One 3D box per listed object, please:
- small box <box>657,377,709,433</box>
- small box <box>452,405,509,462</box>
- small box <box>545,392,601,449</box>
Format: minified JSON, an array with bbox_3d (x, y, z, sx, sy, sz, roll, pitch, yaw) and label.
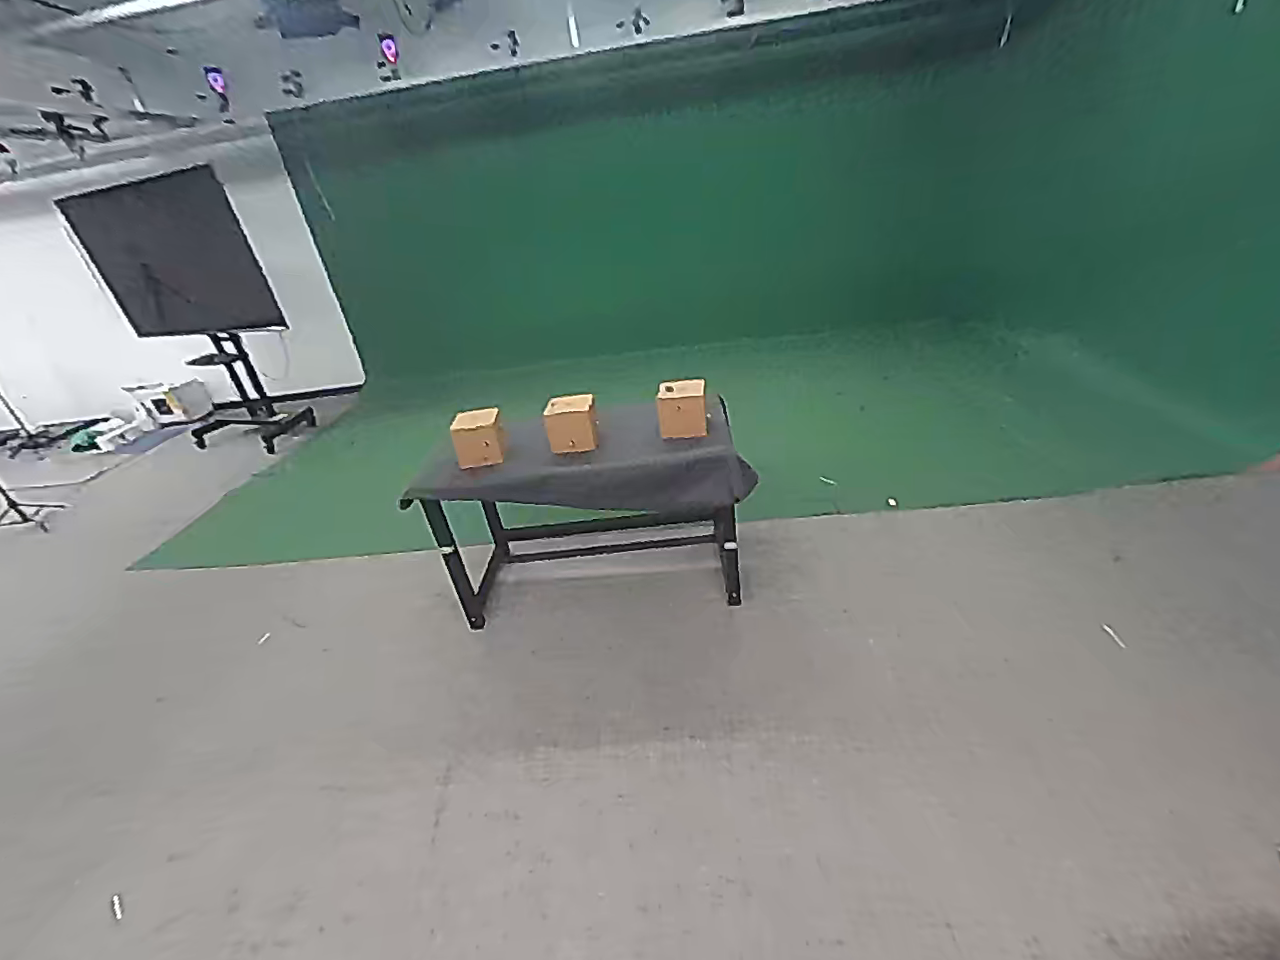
[{"bbox_3d":[0.171,-0.288,2.094,0.179,0.176,0.168,-2,30,11],"label":"small box"},{"bbox_3d":[-0.622,-0.177,2.131,0.168,0.176,0.179,-8,27,-3],"label":"small box"},{"bbox_3d":[-0.256,-0.233,2.124,0.179,0.176,0.168,-4,29,7],"label":"small box"}]
